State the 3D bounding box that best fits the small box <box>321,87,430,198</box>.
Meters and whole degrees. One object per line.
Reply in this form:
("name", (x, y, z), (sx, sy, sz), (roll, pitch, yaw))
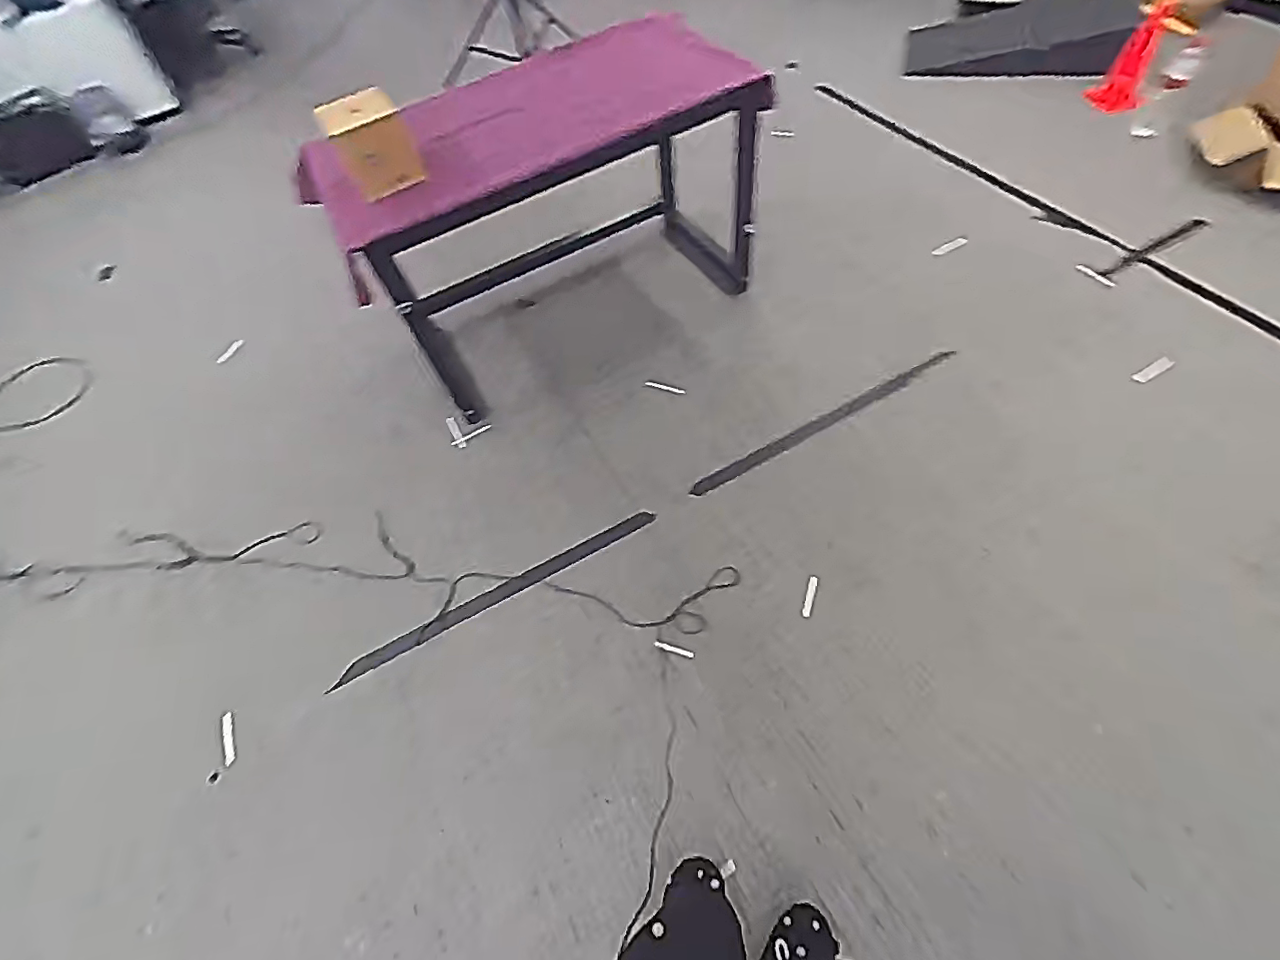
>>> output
("small box", (-0.662, -0.845, 1.367), (0.168, 0.176, 0.179), (-31, 59, -11))
